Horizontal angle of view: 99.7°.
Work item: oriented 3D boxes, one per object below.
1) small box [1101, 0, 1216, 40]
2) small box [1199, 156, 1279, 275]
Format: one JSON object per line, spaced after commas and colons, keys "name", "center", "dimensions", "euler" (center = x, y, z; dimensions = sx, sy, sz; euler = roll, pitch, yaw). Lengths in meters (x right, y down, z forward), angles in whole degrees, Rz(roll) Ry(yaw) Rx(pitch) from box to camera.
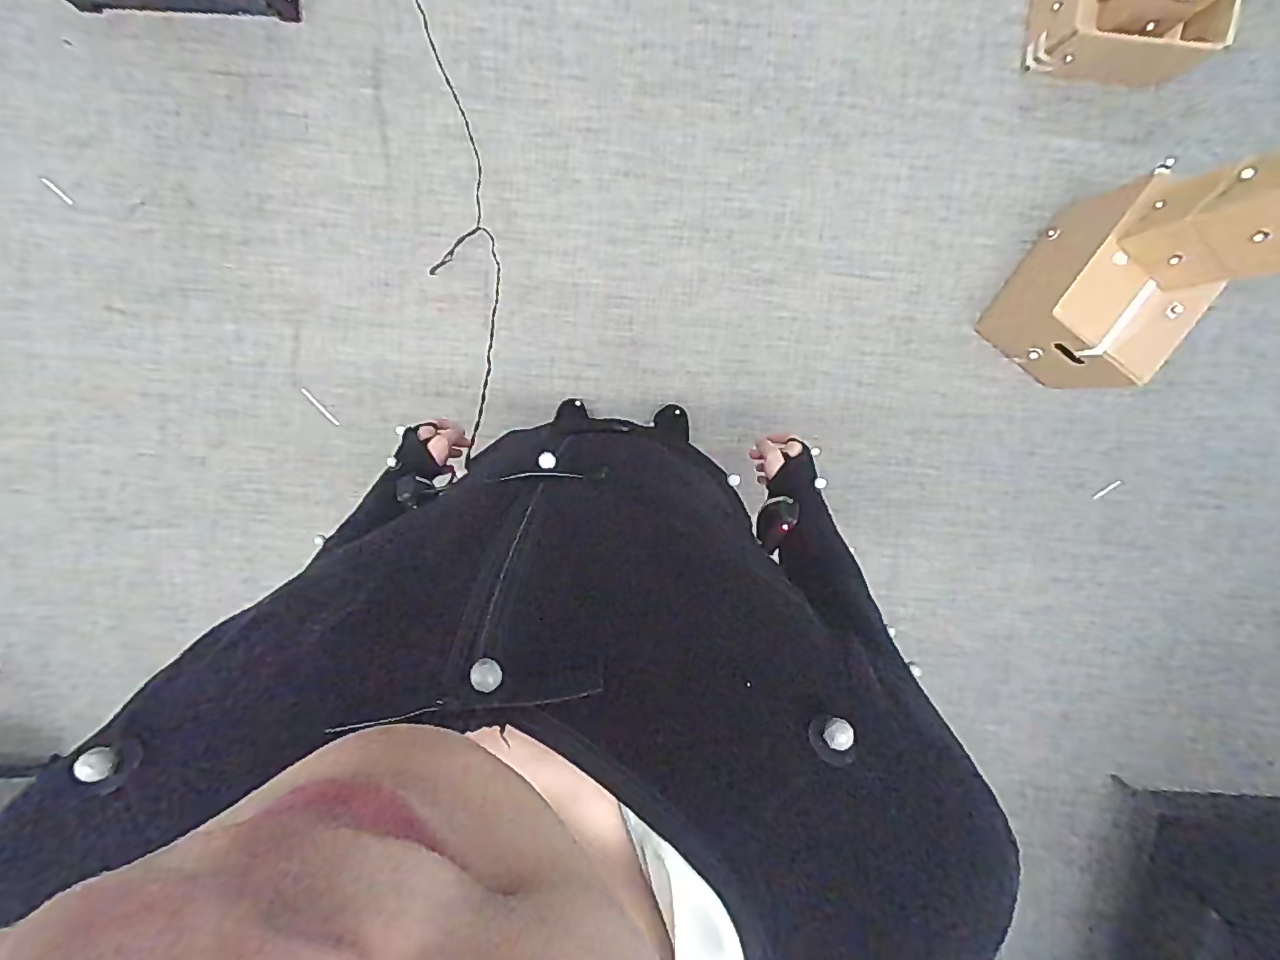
{"name": "small box", "center": [1.294, -1.233, 1.338], "dimensions": [0.168, 0.176, 0.179], "euler": [0, 98, 0]}
{"name": "small box", "center": [1.241, -0.511, 1.016], "dimensions": [0.179, 0.176, 0.168], "euler": [45, 96, -5]}
